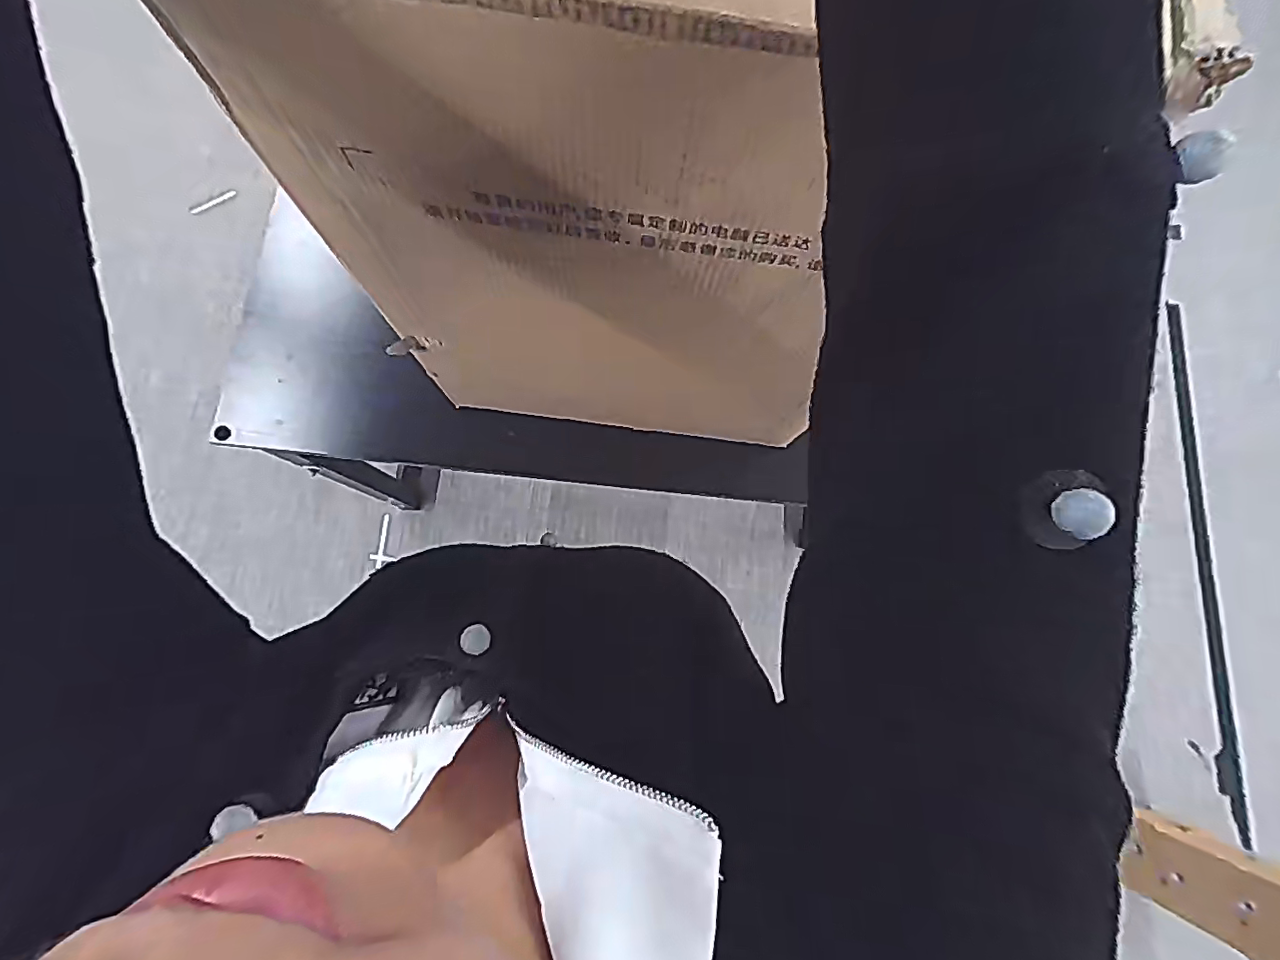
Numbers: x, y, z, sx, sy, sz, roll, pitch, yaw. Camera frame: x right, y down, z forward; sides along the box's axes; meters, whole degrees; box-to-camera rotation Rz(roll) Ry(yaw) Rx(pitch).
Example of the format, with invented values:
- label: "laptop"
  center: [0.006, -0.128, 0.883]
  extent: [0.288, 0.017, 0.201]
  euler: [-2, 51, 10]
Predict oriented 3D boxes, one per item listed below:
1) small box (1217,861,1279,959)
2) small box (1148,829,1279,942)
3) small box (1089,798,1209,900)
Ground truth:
- label: "small box"
  center: [1.316, 0.891, 1.069]
  extent: [0.179, 0.176, 0.168]
  euler: [10, 77, -1]
- label: "small box"
  center: [1.318, 0.925, 1.229]
  extent: [0.179, 0.176, 0.168]
  euler: [10, 78, -2]
- label: "small box"
  center: [1.303, 0.950, 1.391]
  extent: [0.168, 0.176, 0.179]
  euler: [10, 79, -2]
